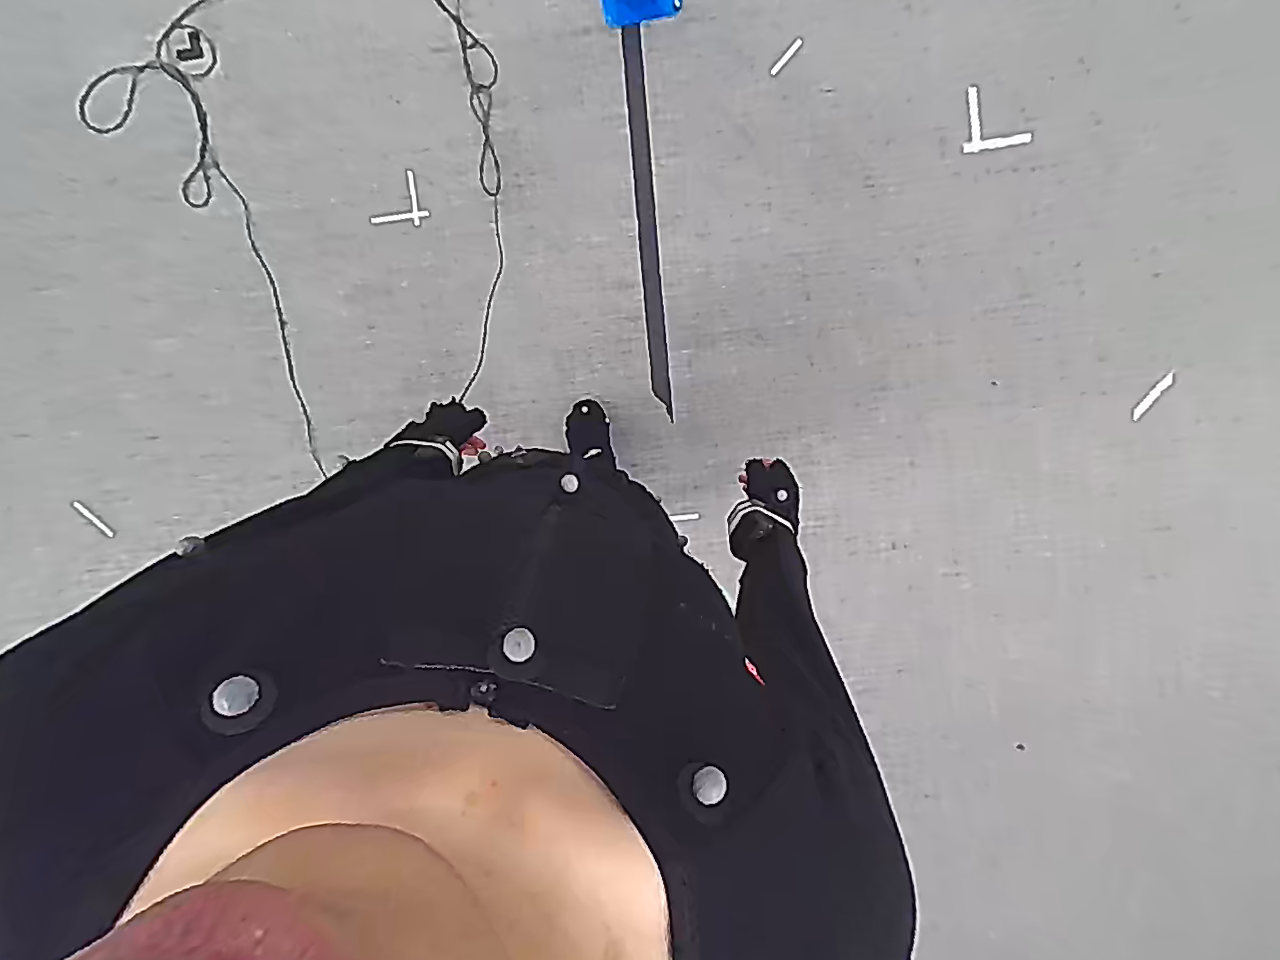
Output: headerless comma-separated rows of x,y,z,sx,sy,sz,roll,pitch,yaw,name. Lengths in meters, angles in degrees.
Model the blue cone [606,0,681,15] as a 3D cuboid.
0.001,-1.250,1.184,0.192,0.380,0.193,-9,96,0,blue cone
